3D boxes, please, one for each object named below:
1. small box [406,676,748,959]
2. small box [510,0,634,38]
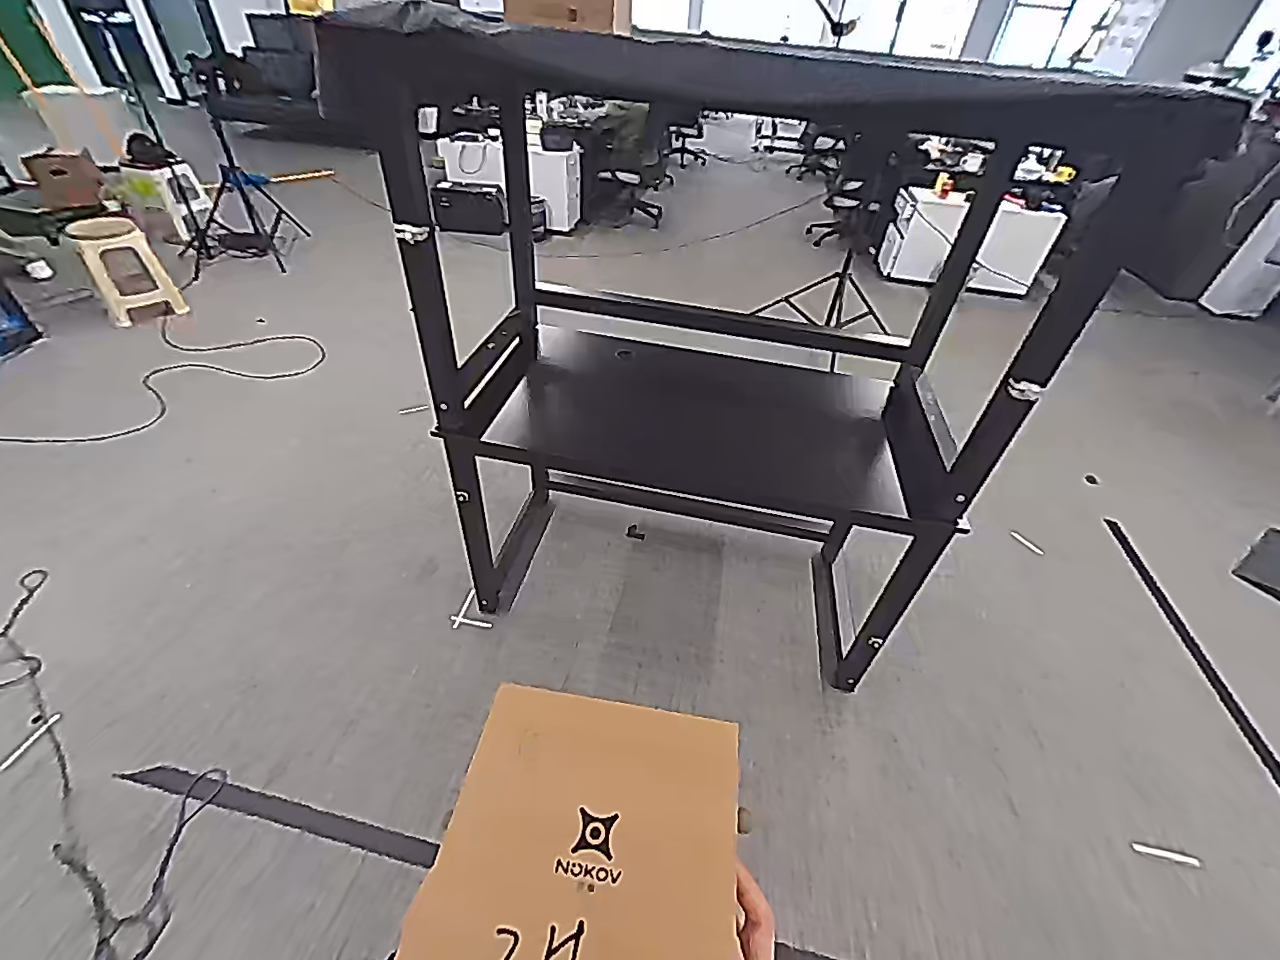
[{"bbox_3d":[-0.028,0.261,0.353,0.168,0.176,0.179,8,42,4],"label":"small box"},{"bbox_3d":[-0.097,-0.770,0.801,0.168,0.176,0.179,8,40,2],"label":"small box"}]
